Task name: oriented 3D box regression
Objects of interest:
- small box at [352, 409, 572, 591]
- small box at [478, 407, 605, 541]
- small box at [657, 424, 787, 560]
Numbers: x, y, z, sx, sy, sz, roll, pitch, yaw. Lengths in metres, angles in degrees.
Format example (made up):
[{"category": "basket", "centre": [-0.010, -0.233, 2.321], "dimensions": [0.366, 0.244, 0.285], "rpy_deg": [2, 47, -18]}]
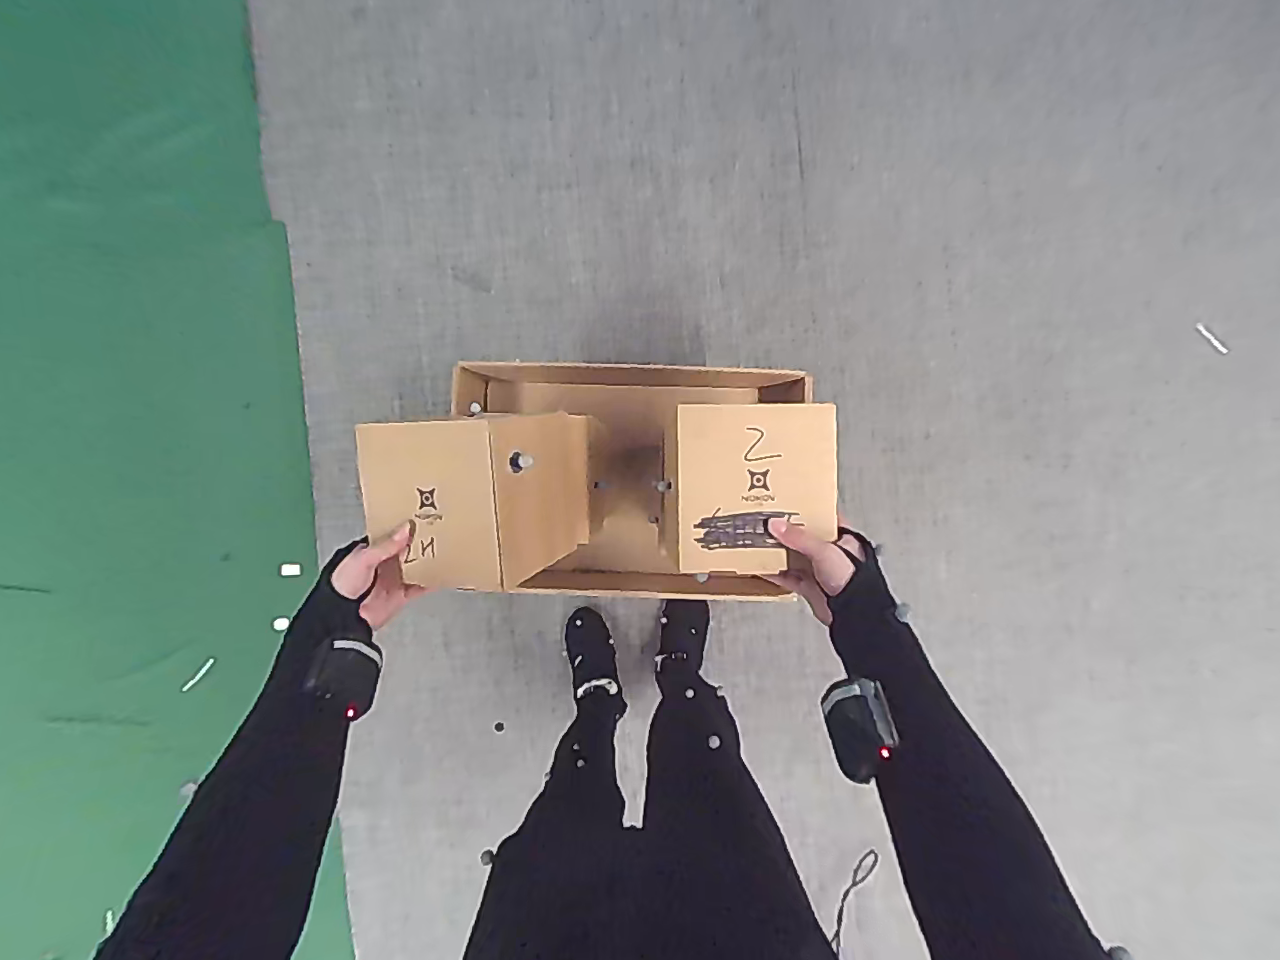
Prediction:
[{"category": "small box", "centre": [-0.188, 0.009, 0.613], "dimensions": [0.168, 0.176, 0.179], "rpy_deg": [1, 100, 19]}, {"category": "small box", "centre": [-0.143, -0.008, 0.804], "dimensions": [0.168, 0.176, 0.179], "rpy_deg": [2, 91, 1]}, {"category": "small box", "centre": [0.111, 0.014, 0.793], "dimensions": [0.168, 0.176, 0.179], "rpy_deg": [2, 90, 1]}]
